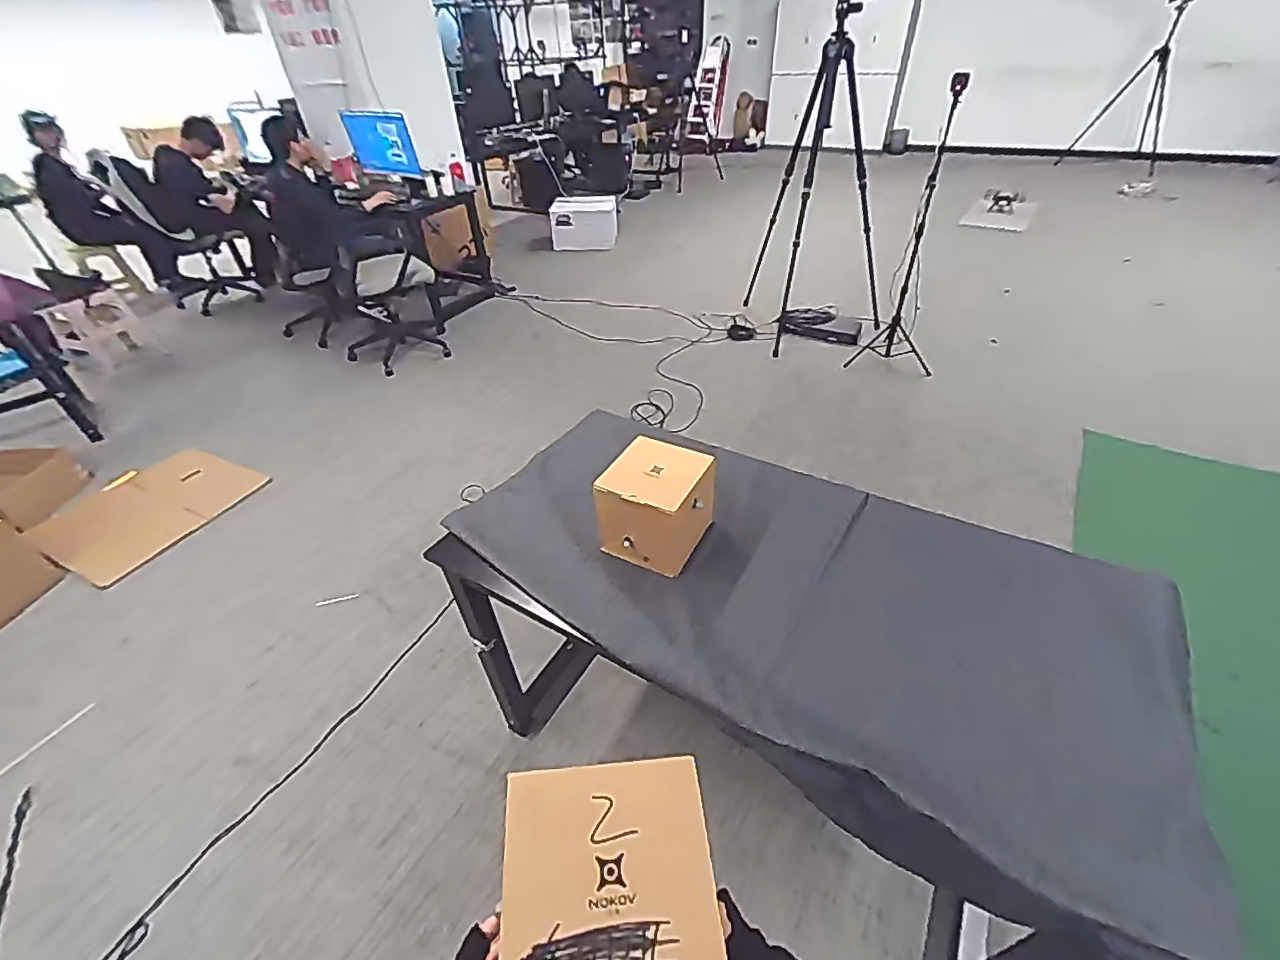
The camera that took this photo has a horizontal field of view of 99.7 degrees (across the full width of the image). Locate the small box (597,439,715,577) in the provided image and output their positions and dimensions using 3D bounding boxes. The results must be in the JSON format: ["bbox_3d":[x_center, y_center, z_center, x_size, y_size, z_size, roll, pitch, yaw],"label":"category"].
[{"bbox_3d":[0.032,0.052,1.046,0.168,0.176,0.179,19,44,23],"label":"small box"}]
